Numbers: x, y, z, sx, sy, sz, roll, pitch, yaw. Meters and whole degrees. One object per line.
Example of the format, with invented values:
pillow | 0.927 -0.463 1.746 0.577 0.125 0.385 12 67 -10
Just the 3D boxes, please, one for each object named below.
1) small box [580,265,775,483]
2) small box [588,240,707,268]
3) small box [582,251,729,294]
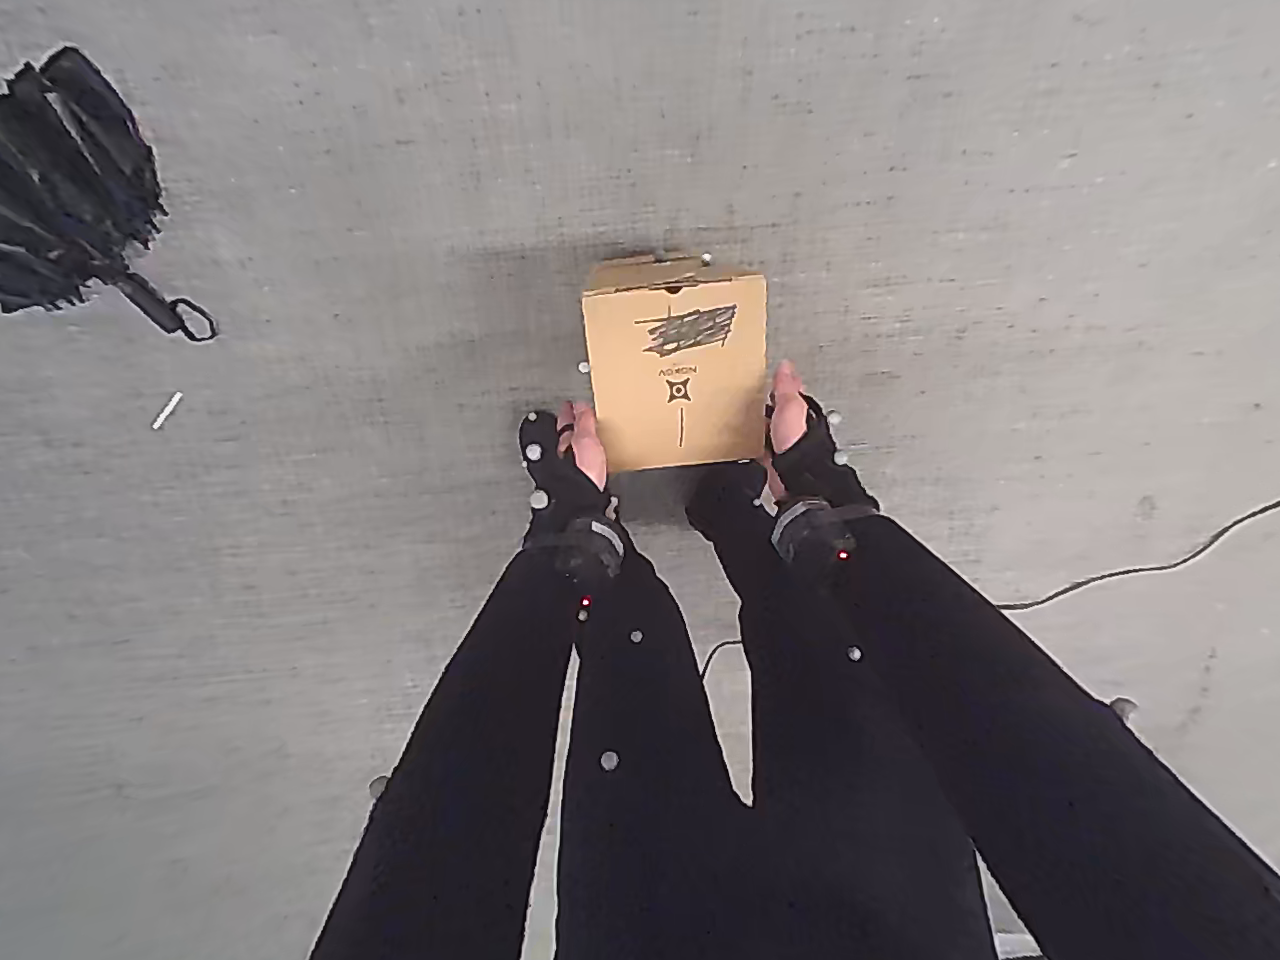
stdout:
small box | 0.033 -0.117 0.548 0.168 0.176 0.179 -6 117 1
small box | 0.018 -0.265 0.840 0.168 0.176 0.179 -7 117 2
small box | 0.023 -0.190 0.696 0.168 0.176 0.179 -7 115 1
